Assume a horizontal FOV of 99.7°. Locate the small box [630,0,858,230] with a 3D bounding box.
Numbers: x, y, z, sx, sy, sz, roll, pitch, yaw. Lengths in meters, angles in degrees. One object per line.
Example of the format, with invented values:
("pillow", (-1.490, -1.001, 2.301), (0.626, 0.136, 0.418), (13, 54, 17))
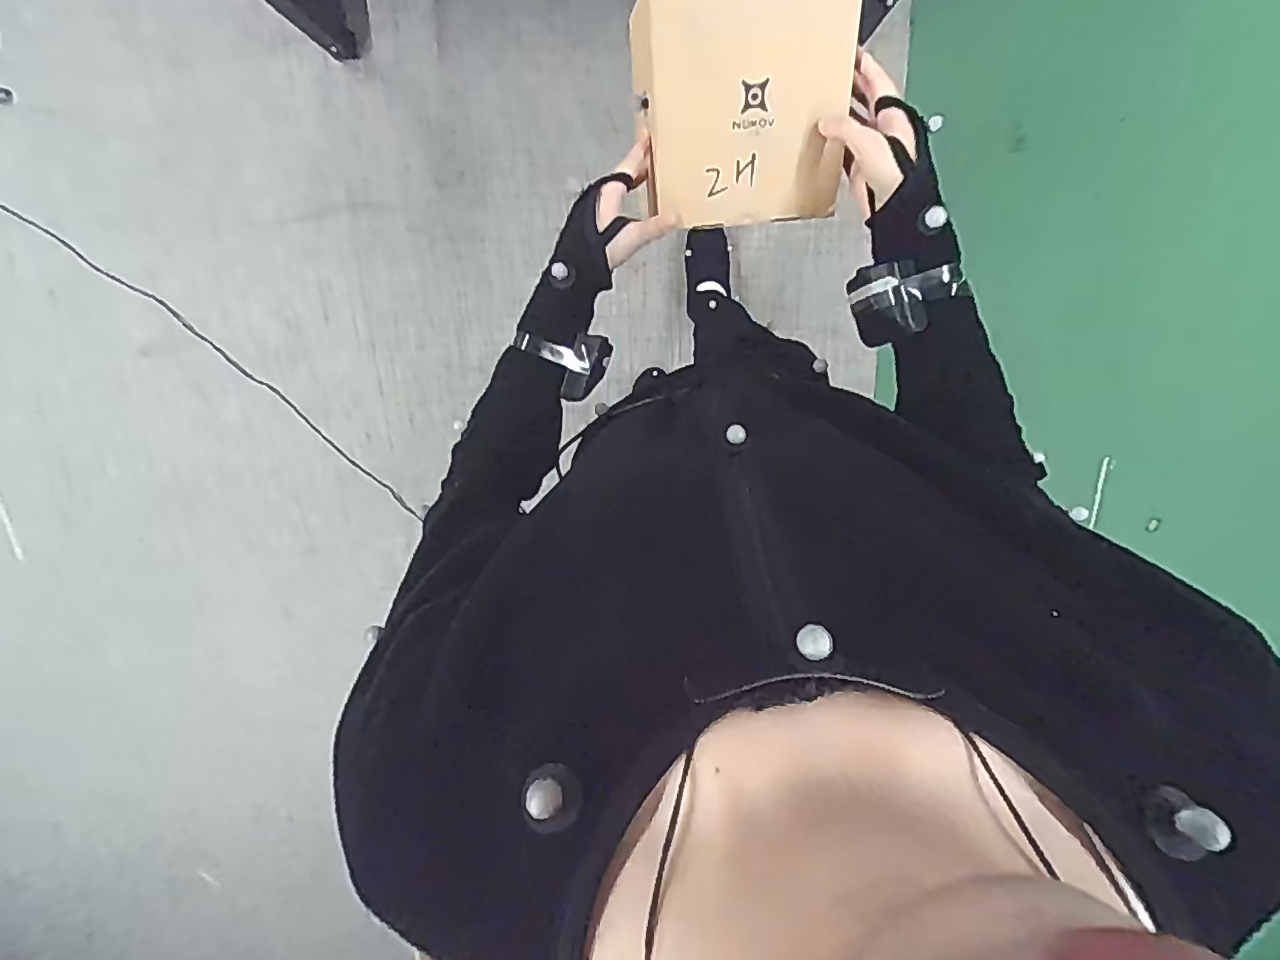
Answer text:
("small box", (0.081, -0.346, 0.510), (0.168, 0.176, 0.179), (-5, 123, -2))
